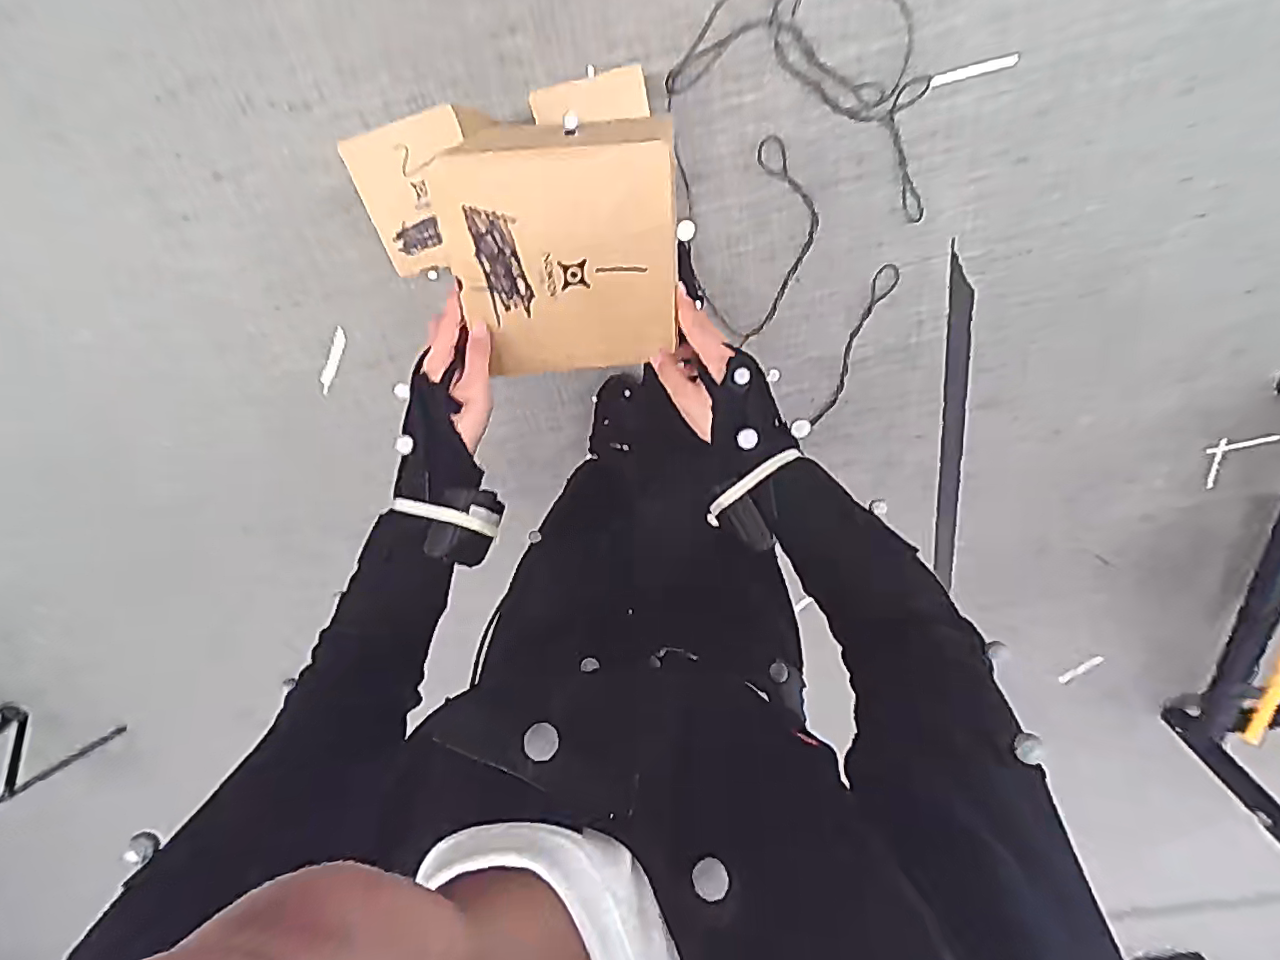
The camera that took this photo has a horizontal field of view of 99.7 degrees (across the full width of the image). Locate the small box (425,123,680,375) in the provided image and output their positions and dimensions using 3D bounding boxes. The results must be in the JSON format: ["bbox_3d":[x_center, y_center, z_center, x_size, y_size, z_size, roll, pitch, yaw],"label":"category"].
[{"bbox_3d":[-0.055,-0.206,0.479,0.179,0.176,0.168,-1,129,5],"label":"small box"}]

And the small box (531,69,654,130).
[{"bbox_3d":[-0.061,-0.550,0.892,0.179,0.176,0.168,-10,119,7],"label":"small box"}]

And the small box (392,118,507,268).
[{"bbox_3d":[-0.283,-0.491,0.935,0.168,0.176,0.179,-17,118,11],"label":"small box"}]
